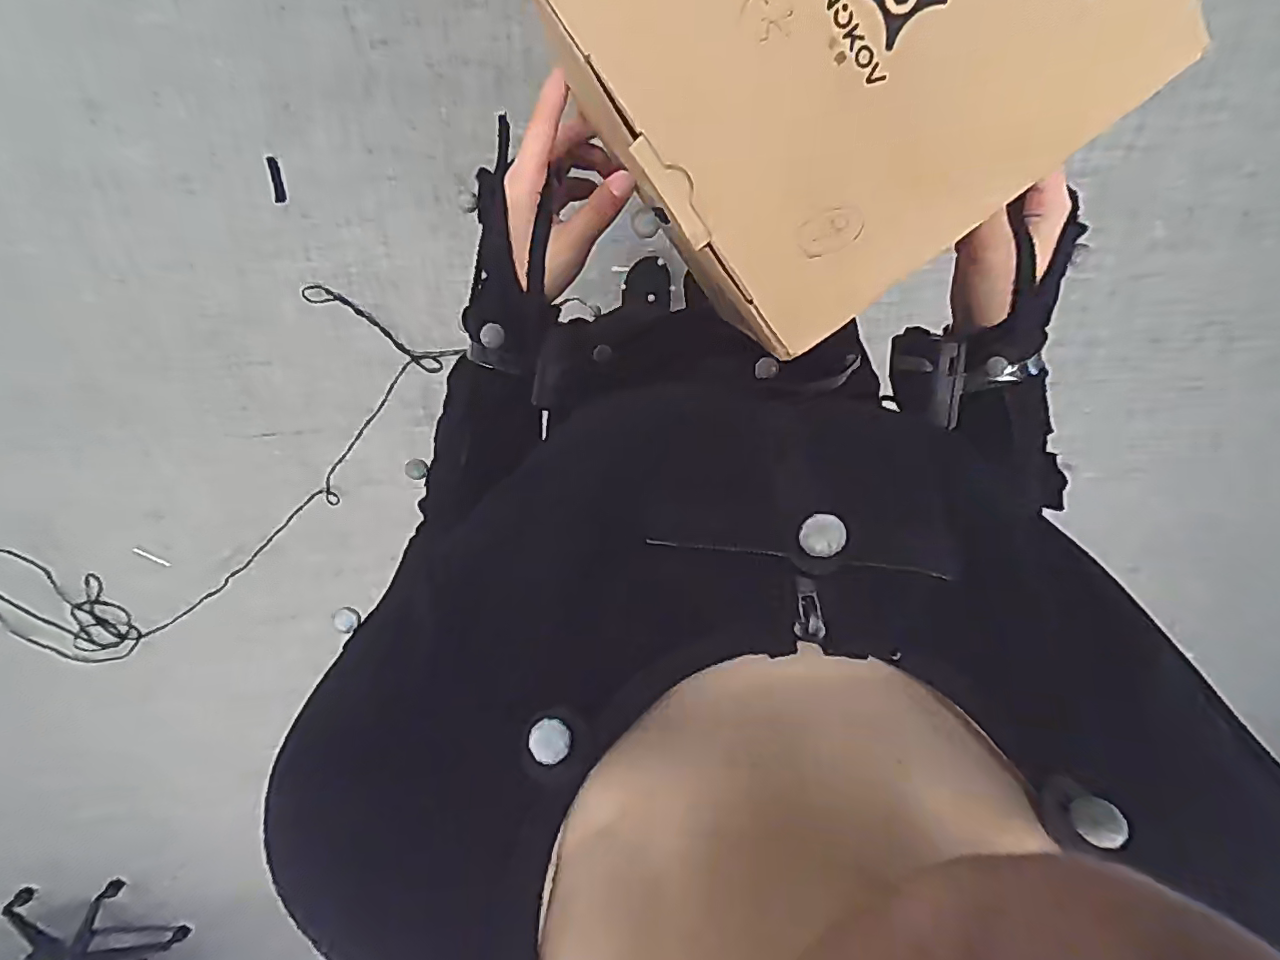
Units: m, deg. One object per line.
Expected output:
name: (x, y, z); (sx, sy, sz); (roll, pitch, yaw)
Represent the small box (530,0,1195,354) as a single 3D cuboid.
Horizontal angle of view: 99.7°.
small box: (0.079, -0.188, 0.261); (0.179, 0.176, 0.168); (-36, 107, 14)
